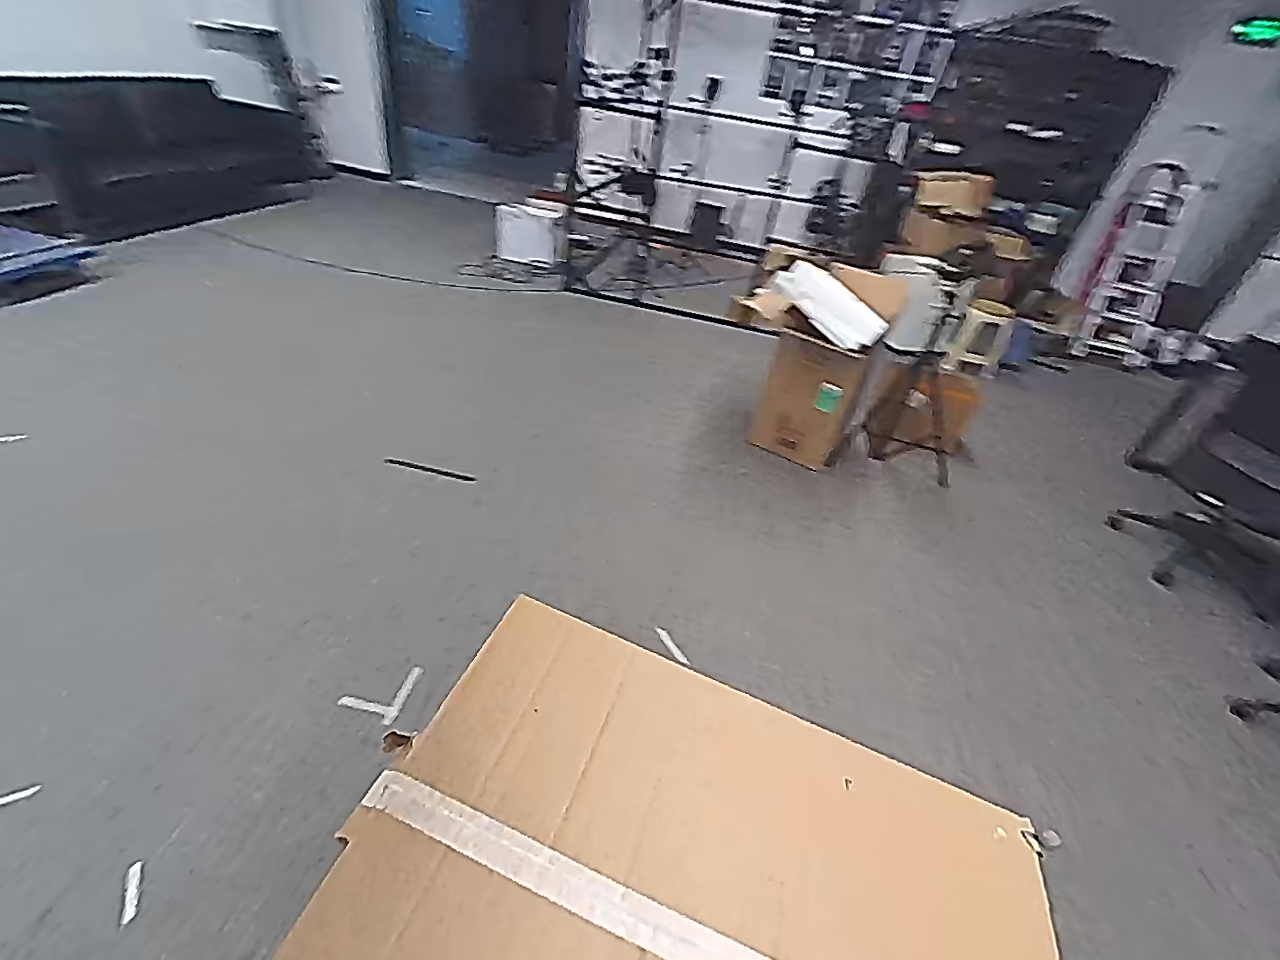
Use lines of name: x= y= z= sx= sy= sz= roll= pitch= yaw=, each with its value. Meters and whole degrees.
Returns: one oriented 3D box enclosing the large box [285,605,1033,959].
large box: x=0.001 y=0.365 z=0.400 sx=0.408 sy=0.320 sz=0.320 roll=22 pitch=42 yaw=6
